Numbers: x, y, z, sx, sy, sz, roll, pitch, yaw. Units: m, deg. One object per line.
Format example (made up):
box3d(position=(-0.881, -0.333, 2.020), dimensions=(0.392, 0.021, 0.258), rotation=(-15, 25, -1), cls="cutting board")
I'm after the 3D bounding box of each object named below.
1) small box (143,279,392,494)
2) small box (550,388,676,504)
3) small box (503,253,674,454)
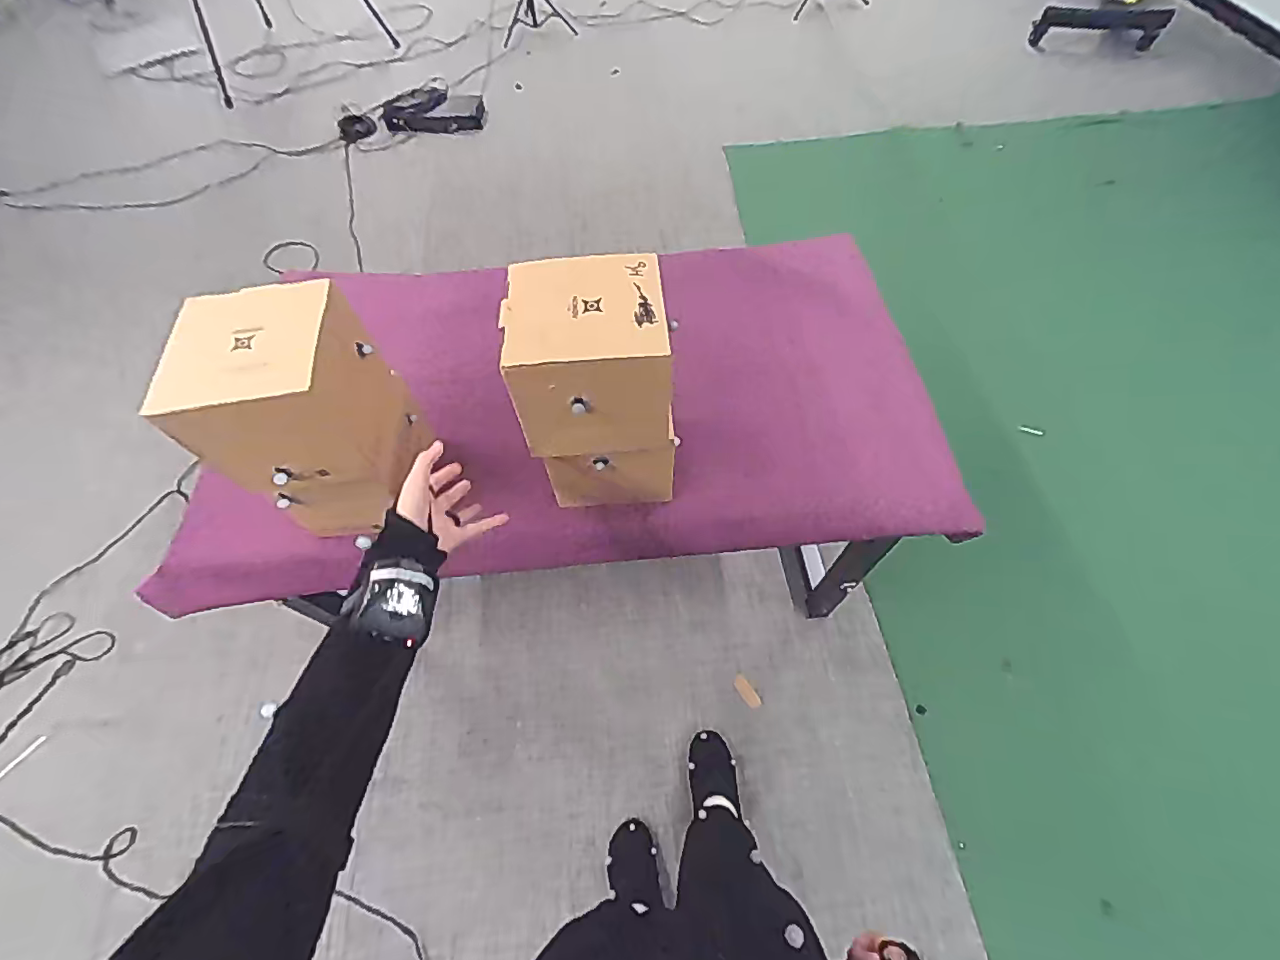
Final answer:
box3d(position=(-0.413, -0.106, 0.640), dimensions=(0.168, 0.176, 0.179), rotation=(-9, 59, -3), cls="small box")
box3d(position=(-0.039, -0.073, 0.799), dimensions=(0.179, 0.176, 0.168), rotation=(-3, 59, 0), cls="small box")
box3d(position=(-0.053, -0.144, 0.651), dimensions=(0.179, 0.176, 0.168), rotation=(-5, 59, 0), cls="small box")
